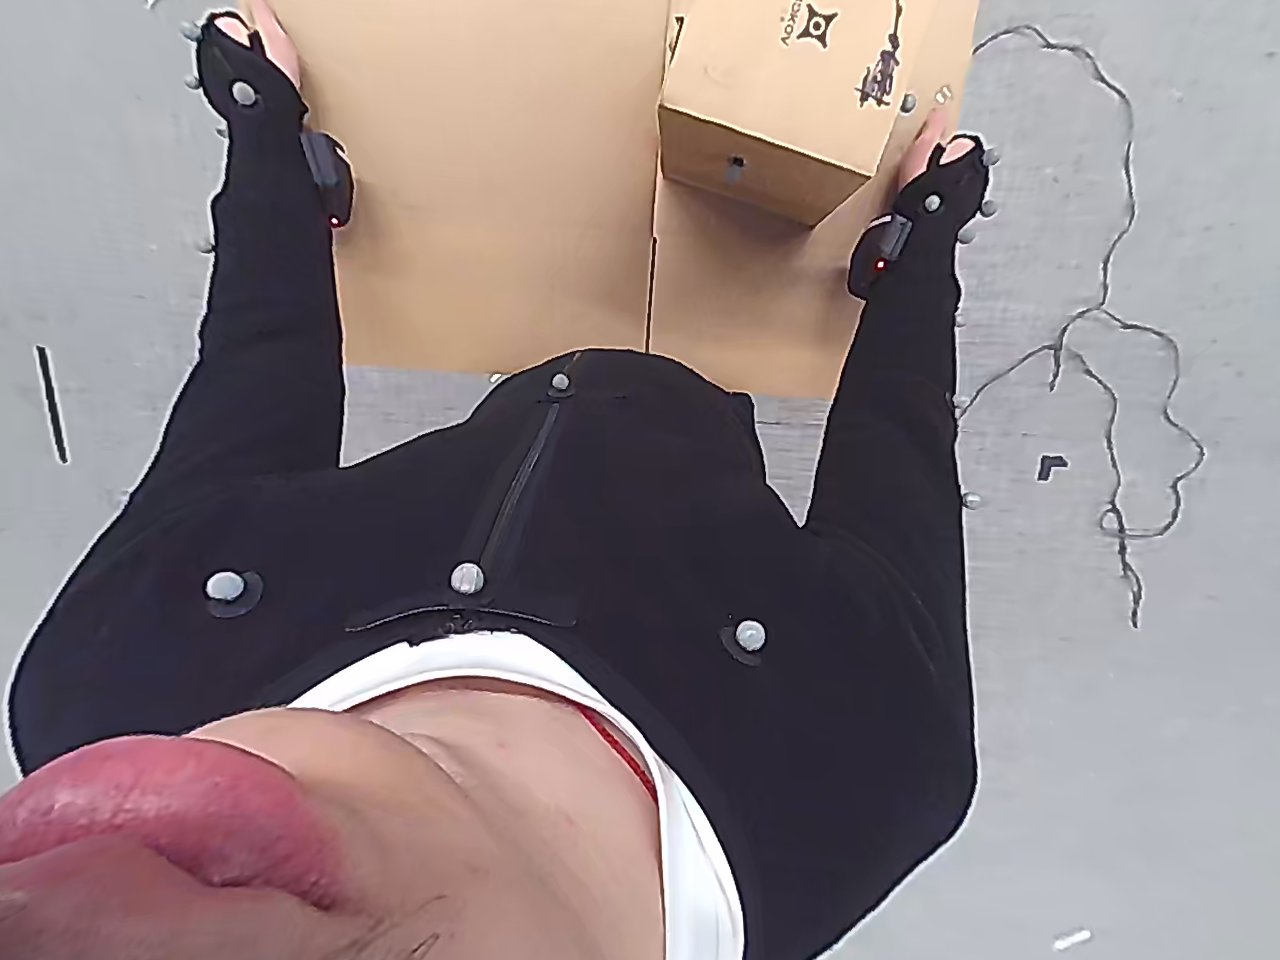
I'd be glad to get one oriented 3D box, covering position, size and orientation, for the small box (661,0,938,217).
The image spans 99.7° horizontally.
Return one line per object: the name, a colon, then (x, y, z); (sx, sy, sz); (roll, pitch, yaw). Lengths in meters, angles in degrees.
small box: (0.127, -0.356, 0.478); (0.179, 0.176, 0.168); (18, 104, -1)
